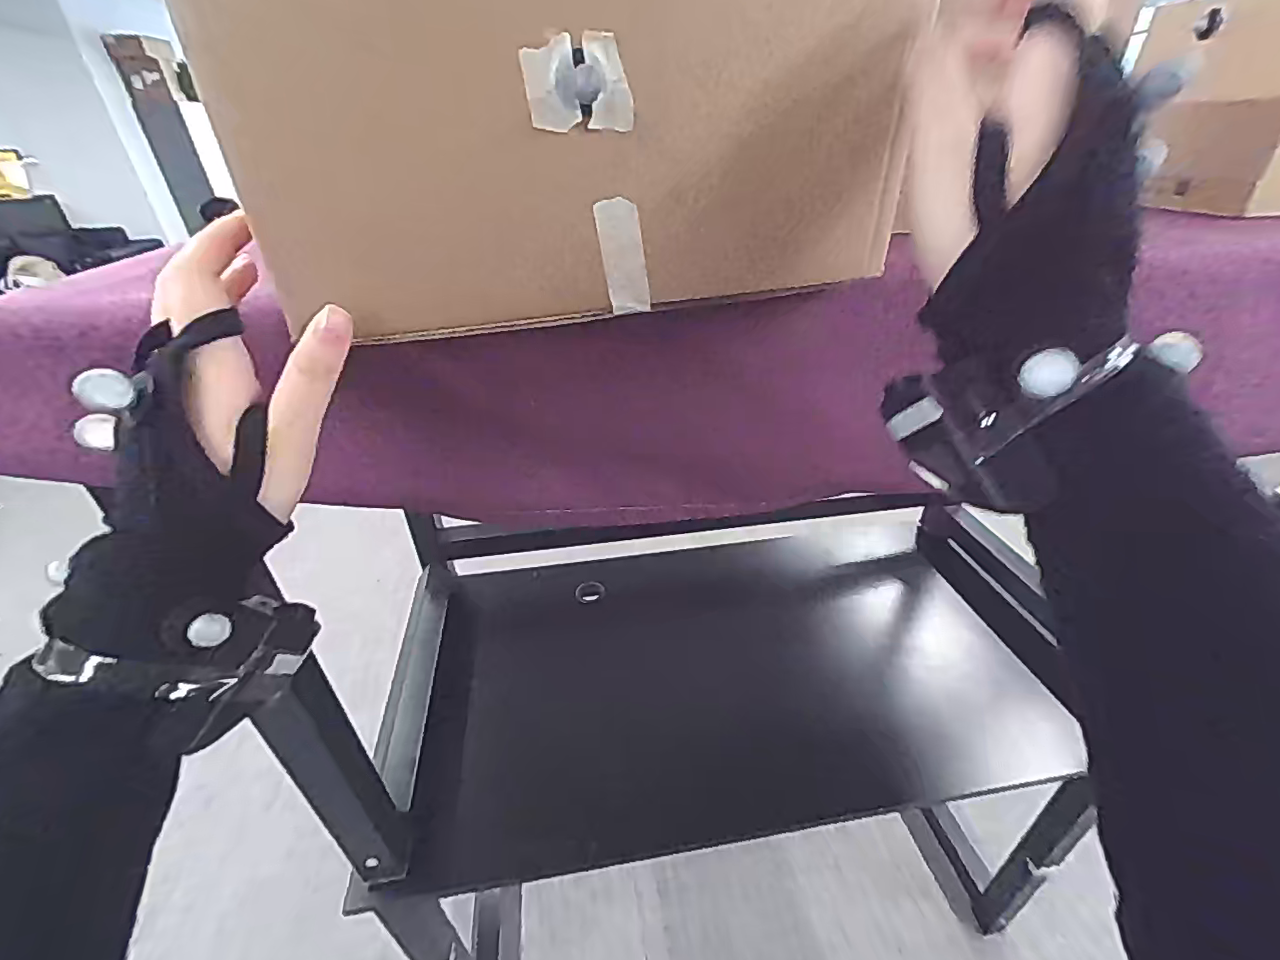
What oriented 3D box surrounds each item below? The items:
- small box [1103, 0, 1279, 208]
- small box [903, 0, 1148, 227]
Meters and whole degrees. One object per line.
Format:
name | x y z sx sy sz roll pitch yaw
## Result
small box | 0.588 -0.351 0.490 0.179 0.176 0.168 -5 32 -5
small box | 0.273 -0.330 0.480 0.179 0.176 0.168 -6 32 -5
